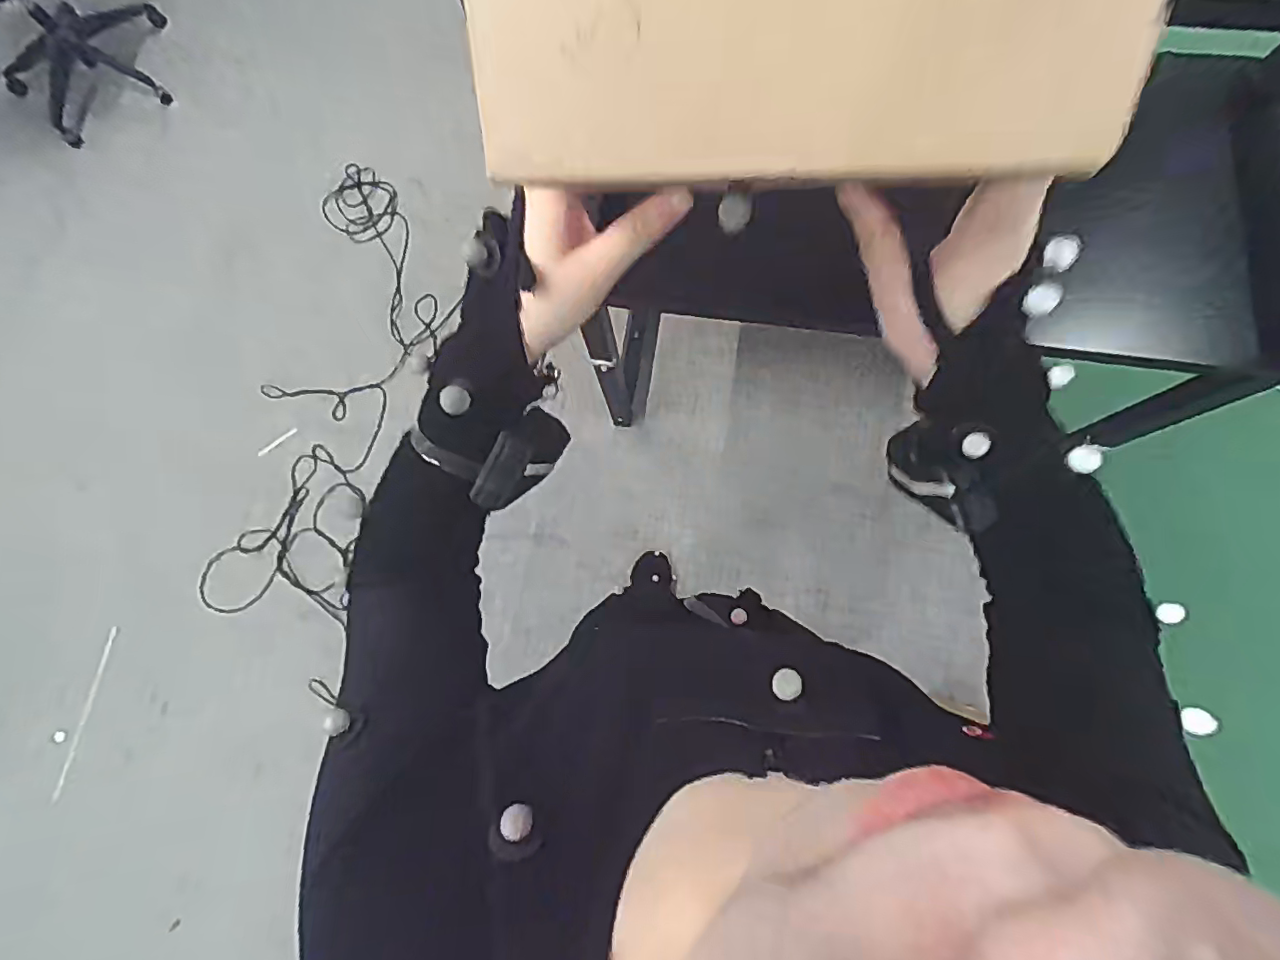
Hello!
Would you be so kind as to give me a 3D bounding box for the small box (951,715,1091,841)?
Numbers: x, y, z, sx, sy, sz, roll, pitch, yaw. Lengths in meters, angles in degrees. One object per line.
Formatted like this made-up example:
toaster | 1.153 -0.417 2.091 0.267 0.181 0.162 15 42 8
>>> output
small box | 0.777 0.602 1.121 0.179 0.176 0.168 15 77 8
